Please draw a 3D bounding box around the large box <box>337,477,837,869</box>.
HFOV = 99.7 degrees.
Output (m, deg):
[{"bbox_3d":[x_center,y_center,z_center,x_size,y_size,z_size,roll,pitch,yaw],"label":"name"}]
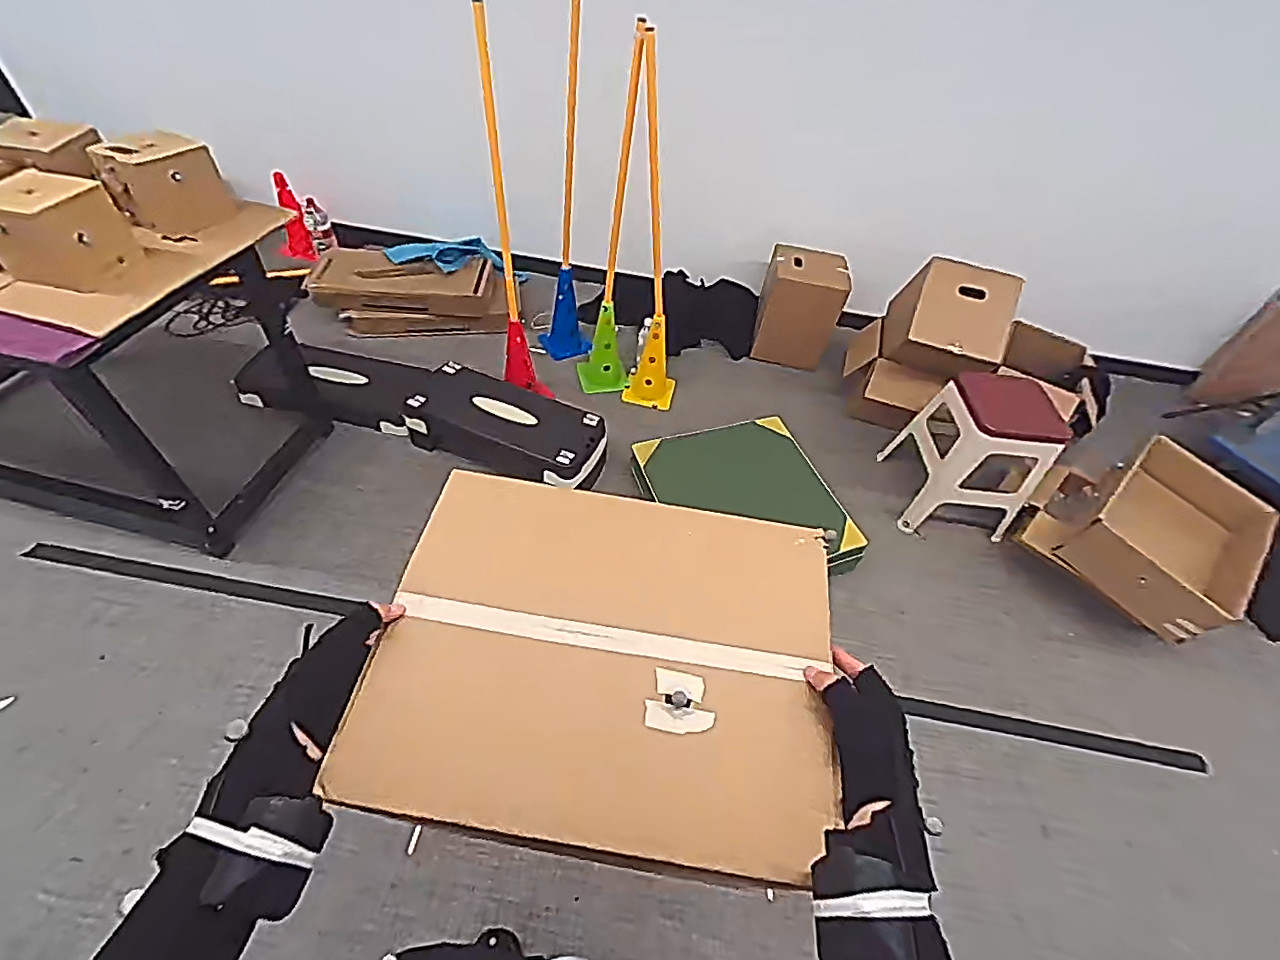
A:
[{"bbox_3d":[-0.038,0.233,0.625,0.408,0.320,0.320,10,55,0],"label":"large box"}]
